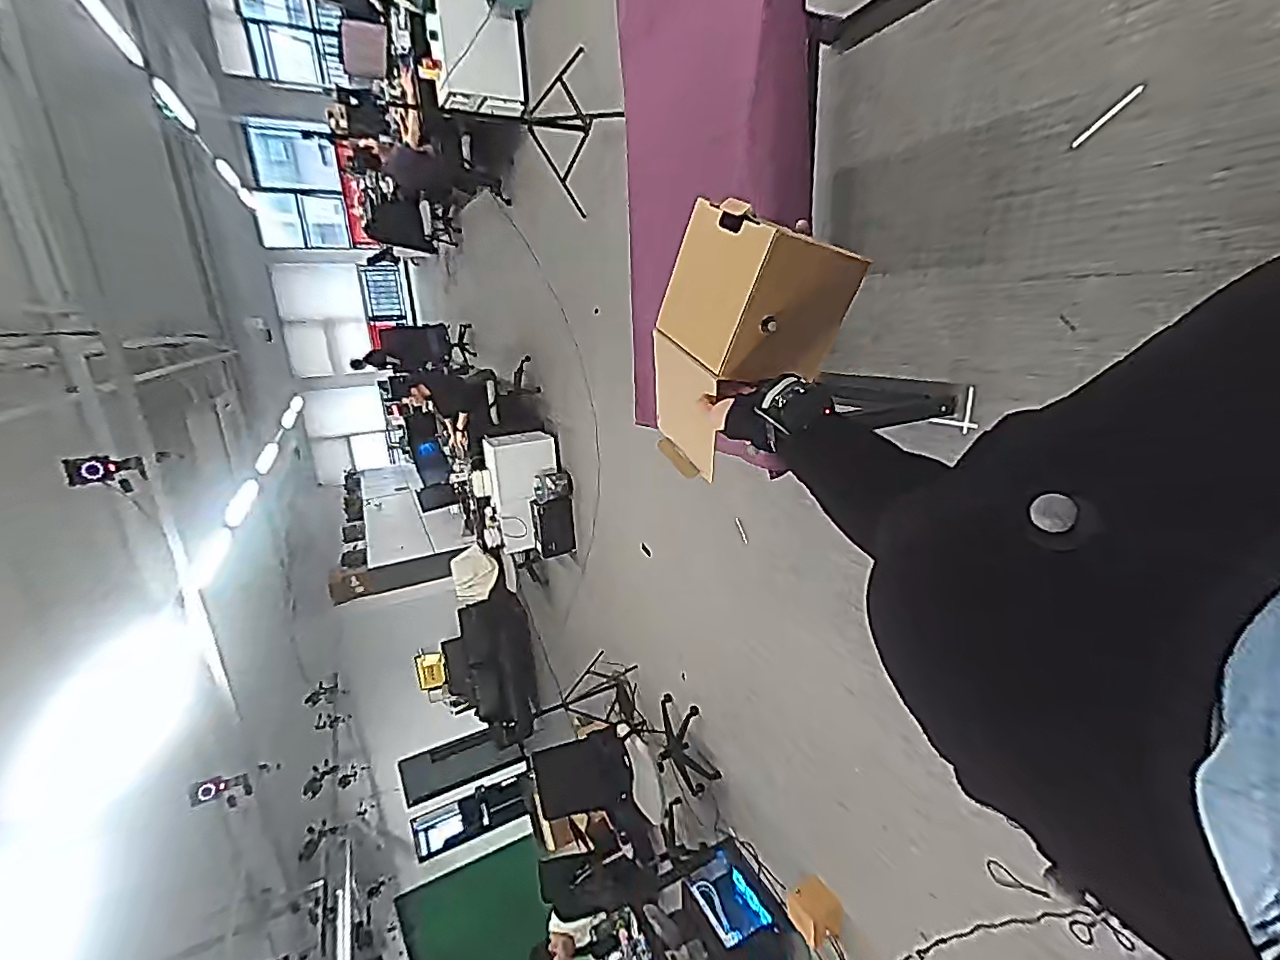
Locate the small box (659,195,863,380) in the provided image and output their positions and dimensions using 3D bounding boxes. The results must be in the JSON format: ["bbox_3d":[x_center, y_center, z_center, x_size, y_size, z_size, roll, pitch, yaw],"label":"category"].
[{"bbox_3d":[0.155,-0.246,0.713,0.168,0.176,0.179,52,132,43],"label":"small box"}]
